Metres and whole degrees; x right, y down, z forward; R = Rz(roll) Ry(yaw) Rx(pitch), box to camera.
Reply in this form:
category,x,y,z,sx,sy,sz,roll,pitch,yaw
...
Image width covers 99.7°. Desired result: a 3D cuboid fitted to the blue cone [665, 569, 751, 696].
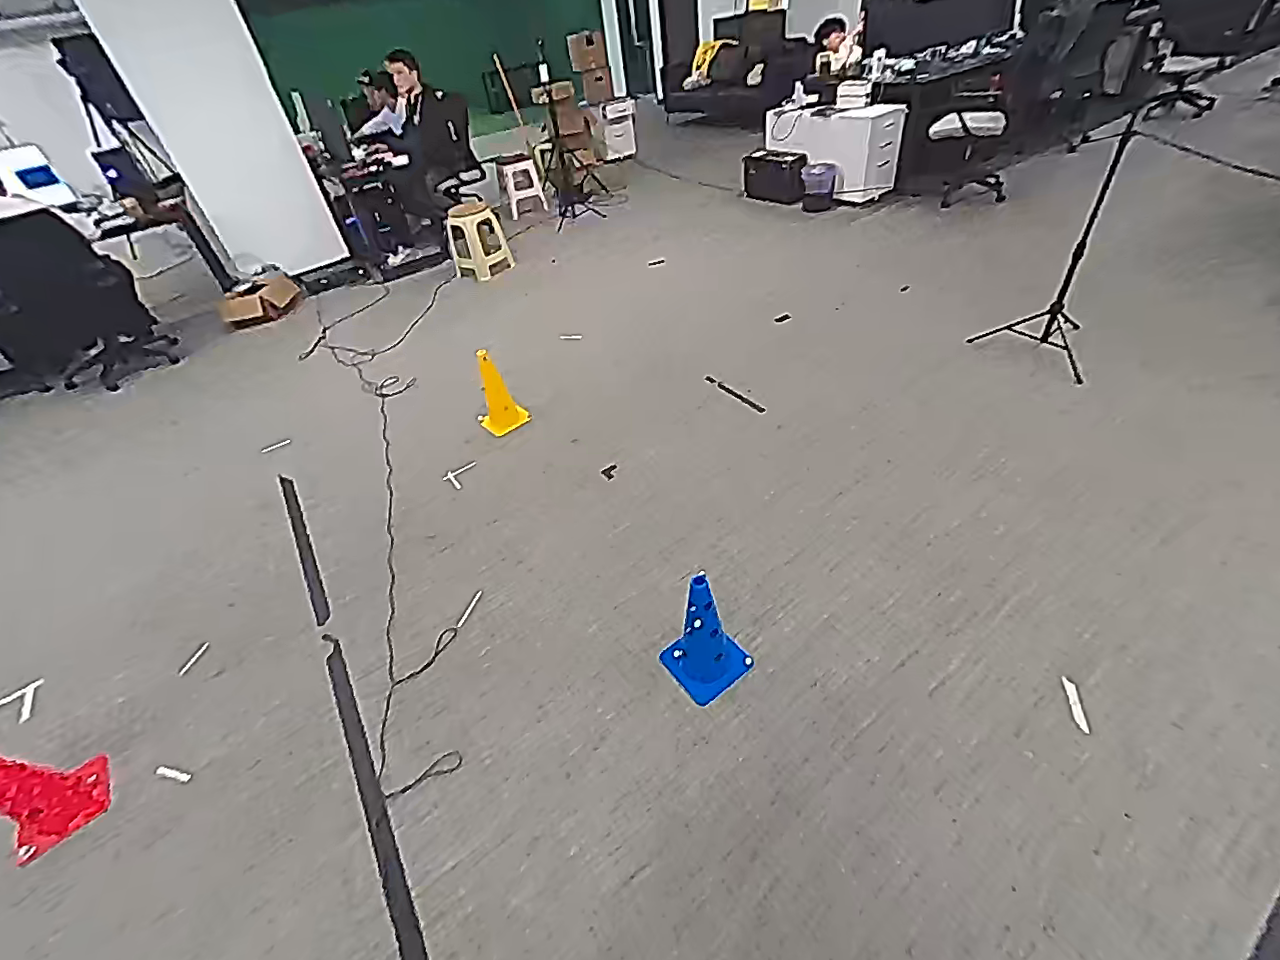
category,x,y,z,sx,sy,sz,roll,pitch,yaw
blue cone,0.166,0.369,1.400,0.192,0.380,0.193,-28,44,-22

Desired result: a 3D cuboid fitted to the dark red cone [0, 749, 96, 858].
category,x,y,z,sx,sy,sz,roll,pitch,yaw
dark red cone,-1.557,0.713,1.304,0.201,0.394,0.202,-35,46,-28
